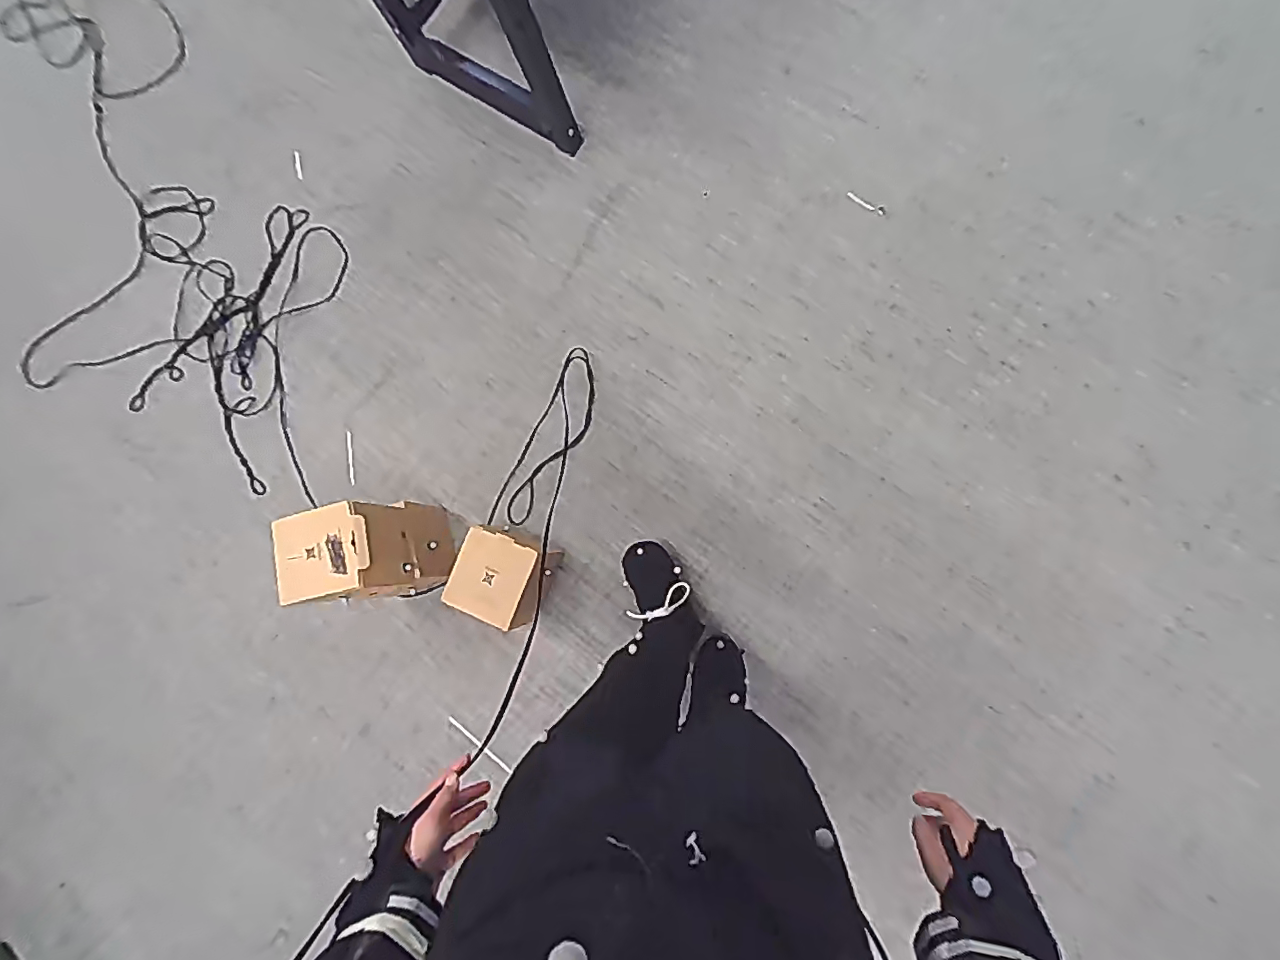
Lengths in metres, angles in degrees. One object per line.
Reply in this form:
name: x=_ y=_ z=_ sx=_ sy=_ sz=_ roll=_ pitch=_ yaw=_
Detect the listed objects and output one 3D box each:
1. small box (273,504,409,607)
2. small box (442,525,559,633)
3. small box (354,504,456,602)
small box: x=-0.585 y=0.150 z=1.080 sx=0.179 sy=0.176 sz=0.168 roll=-14 pitch=79 yaw=9
small box: x=-0.295 y=0.213 z=1.190 sx=0.168 sy=0.176 sz=0.179 roll=20 pitch=86 yaw=13
small box: x=-0.545 y=0.166 z=1.240 sx=0.168 sy=0.176 sz=0.179 roll=-19 pitch=79 yaw=8
